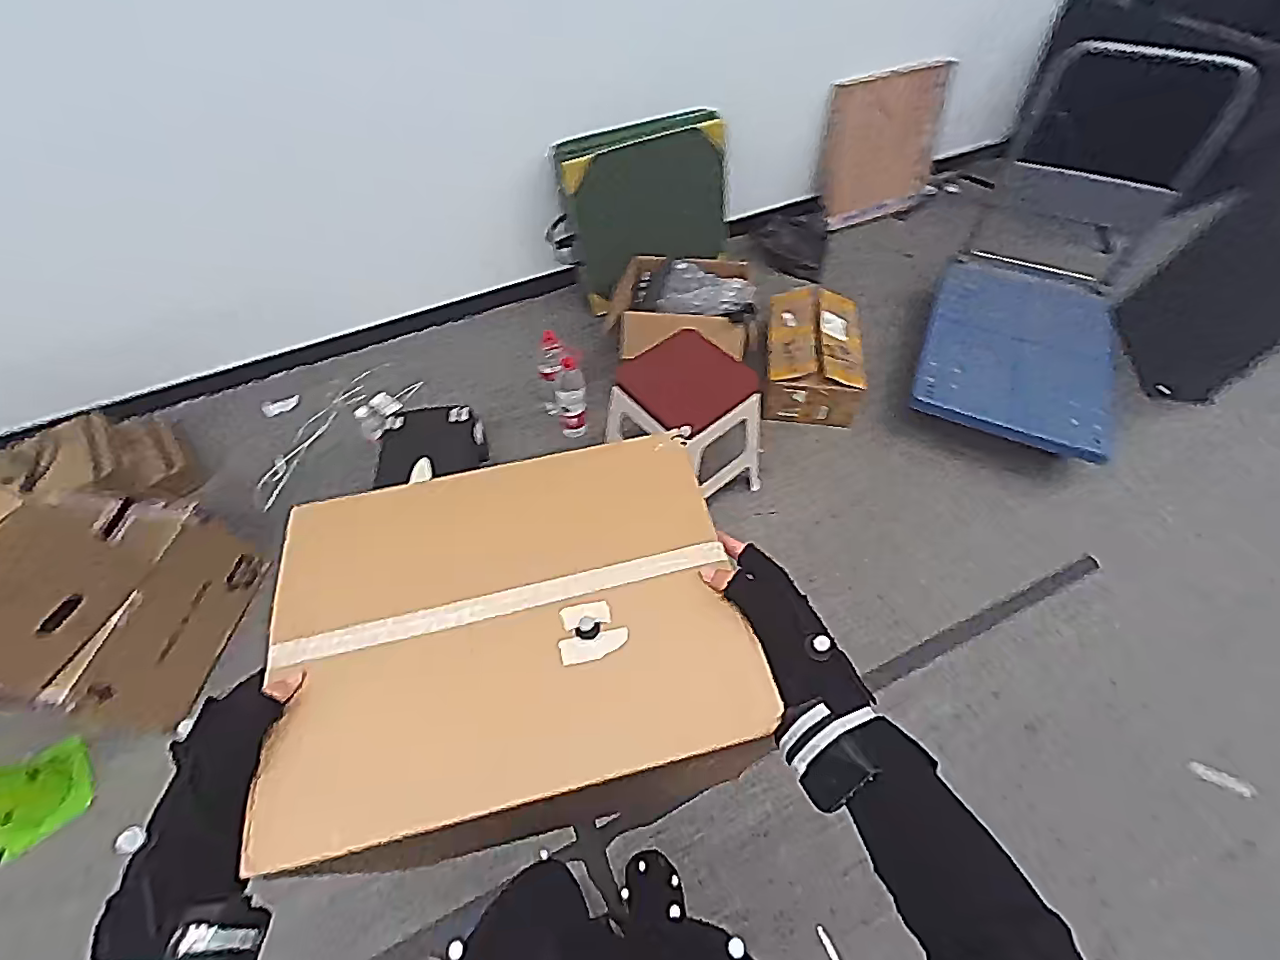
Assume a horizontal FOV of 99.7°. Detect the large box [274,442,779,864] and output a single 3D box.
[{"bbox_3d":[-0.109,0.203,0.621,0.408,0.320,0.320,-11,55,-7],"label":"large box"}]
